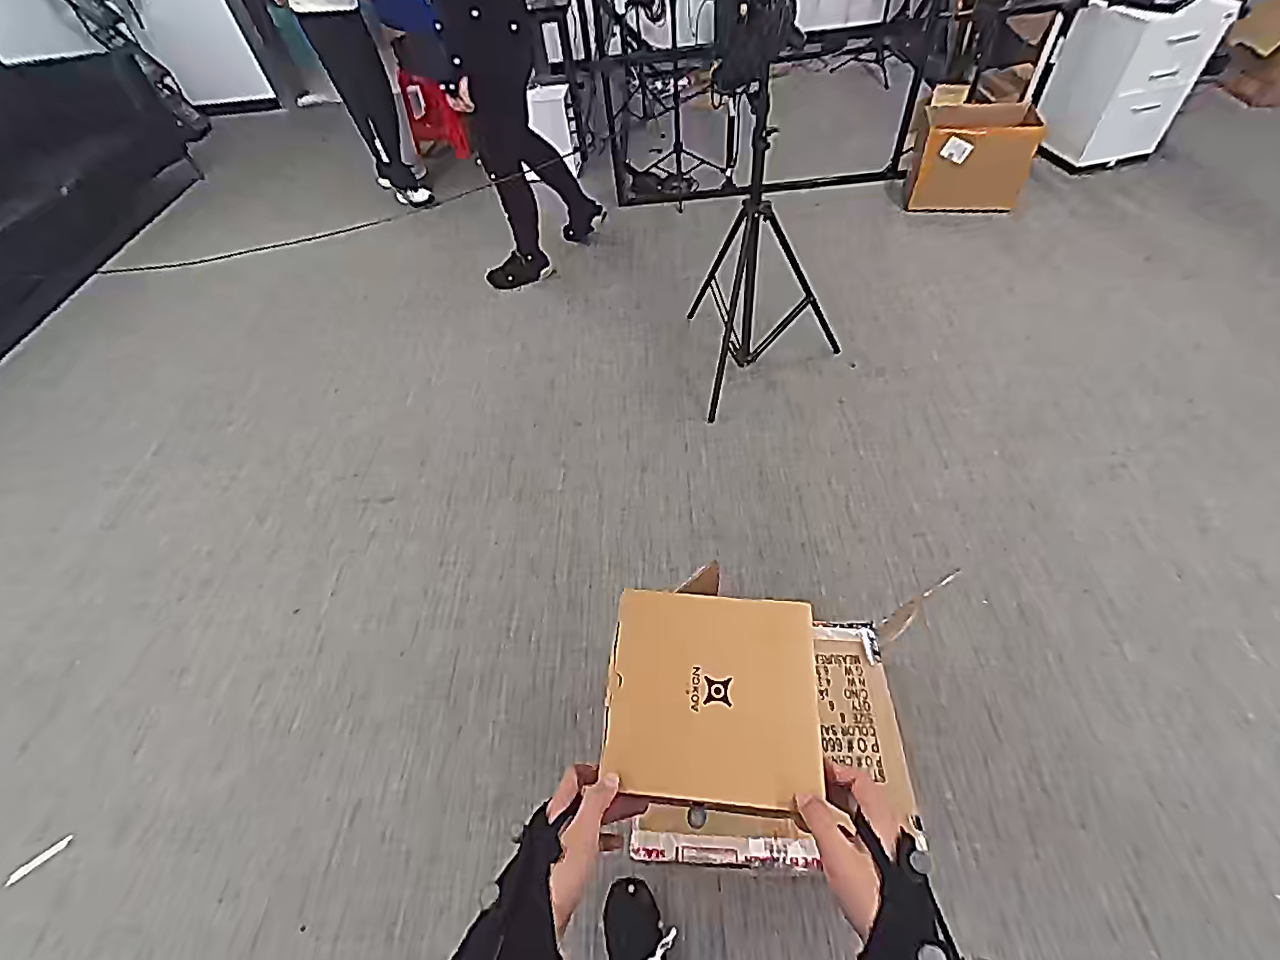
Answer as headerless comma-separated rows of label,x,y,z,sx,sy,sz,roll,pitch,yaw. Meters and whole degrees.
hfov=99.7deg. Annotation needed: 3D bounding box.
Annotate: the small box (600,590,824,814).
small box,0.067,0.219,0.526,0.179,0.176,0.168,2,57,7
